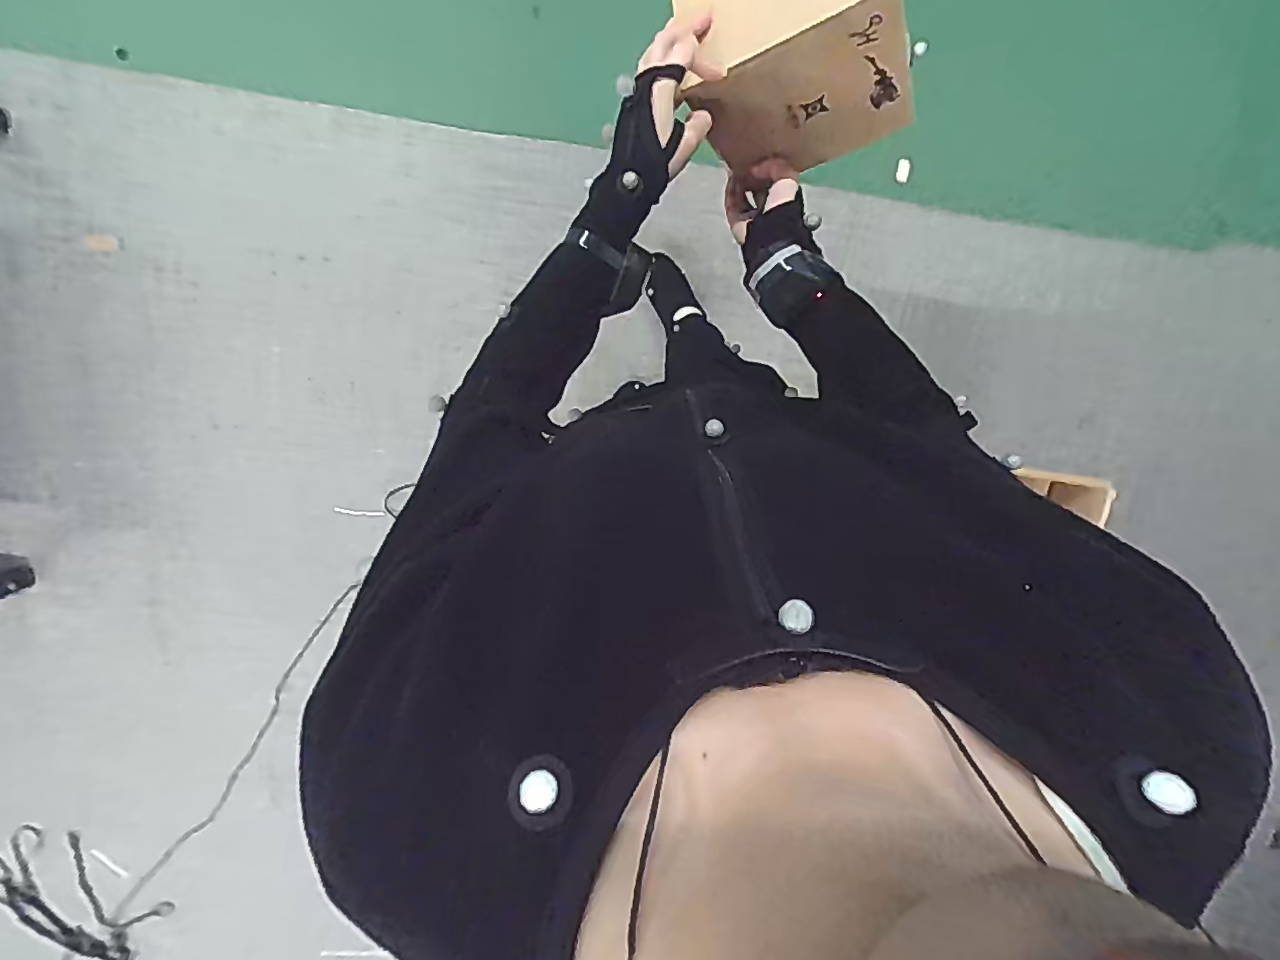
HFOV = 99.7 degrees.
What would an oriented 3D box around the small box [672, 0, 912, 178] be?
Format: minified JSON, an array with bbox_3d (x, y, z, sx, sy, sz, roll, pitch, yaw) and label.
[{"bbox_3d":[0.139,-0.424,0.489,0.179,0.168,0.176,-7,85,30],"label":"small box"}]
